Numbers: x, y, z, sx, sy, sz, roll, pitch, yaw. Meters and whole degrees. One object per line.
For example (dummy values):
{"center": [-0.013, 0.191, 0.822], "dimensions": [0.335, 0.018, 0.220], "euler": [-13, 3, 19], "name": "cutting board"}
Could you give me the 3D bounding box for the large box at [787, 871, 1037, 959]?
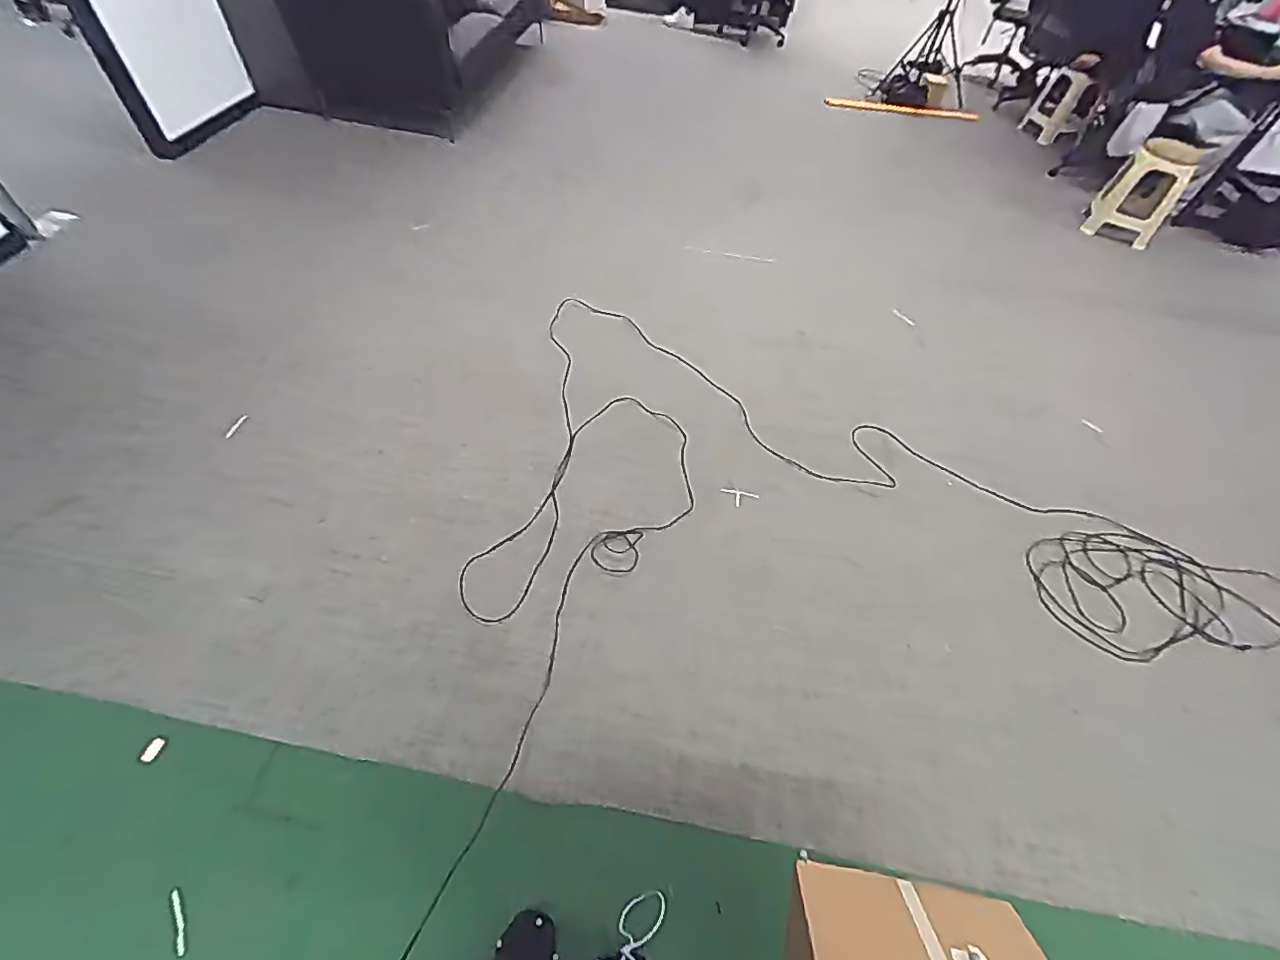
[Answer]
{"center": [0.350, 0.777, 0.630], "dimensions": [0.320, 0.408, 0.320], "euler": [7, 93, 8], "name": "large box"}
